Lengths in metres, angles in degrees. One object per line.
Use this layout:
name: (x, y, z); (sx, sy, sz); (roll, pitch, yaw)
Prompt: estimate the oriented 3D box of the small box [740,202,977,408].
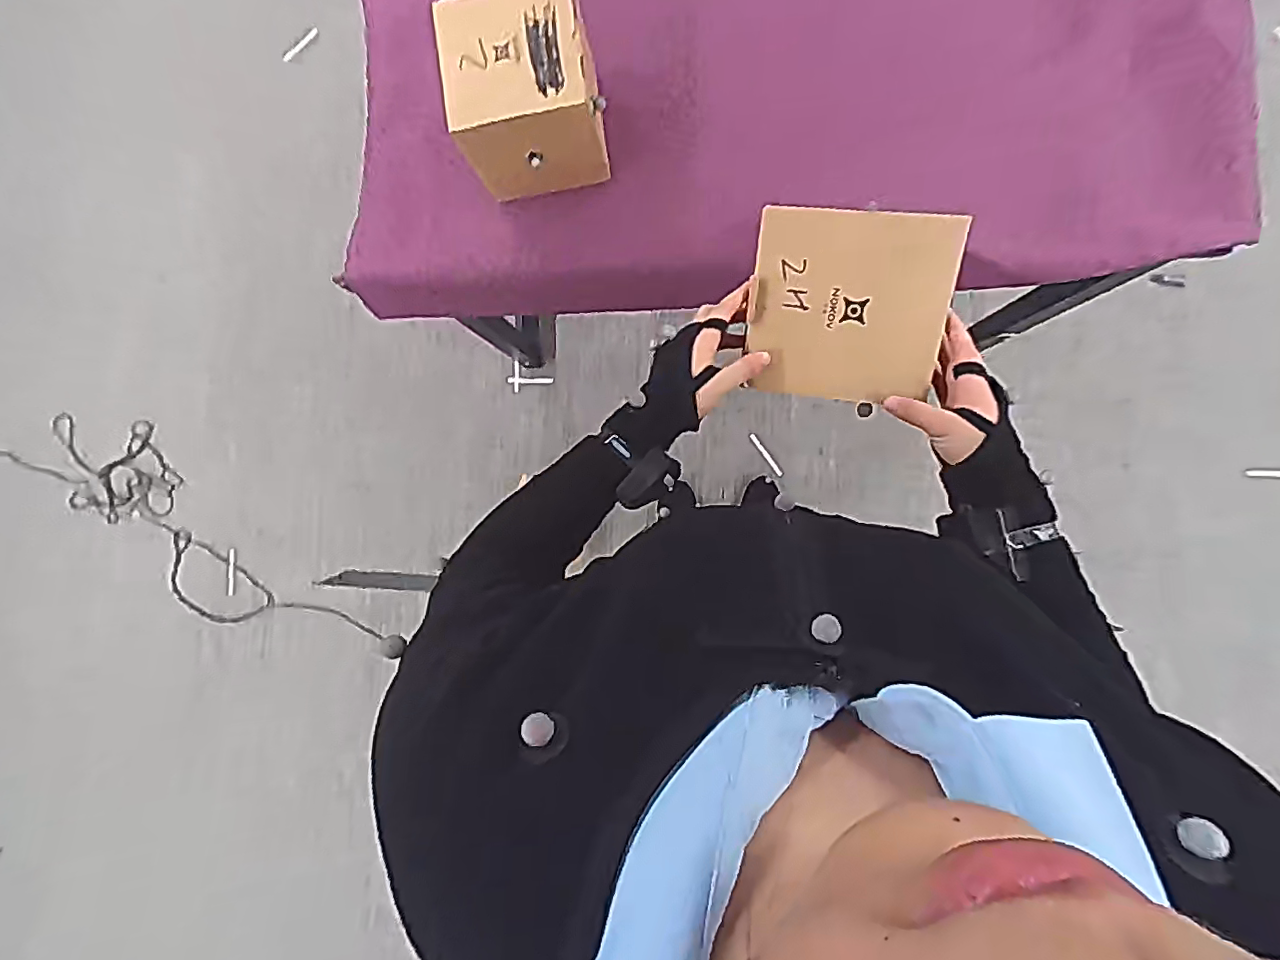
small box: (0.210, -0.178, 0.566); (0.179, 0.176, 0.168); (10, 106, 13)
